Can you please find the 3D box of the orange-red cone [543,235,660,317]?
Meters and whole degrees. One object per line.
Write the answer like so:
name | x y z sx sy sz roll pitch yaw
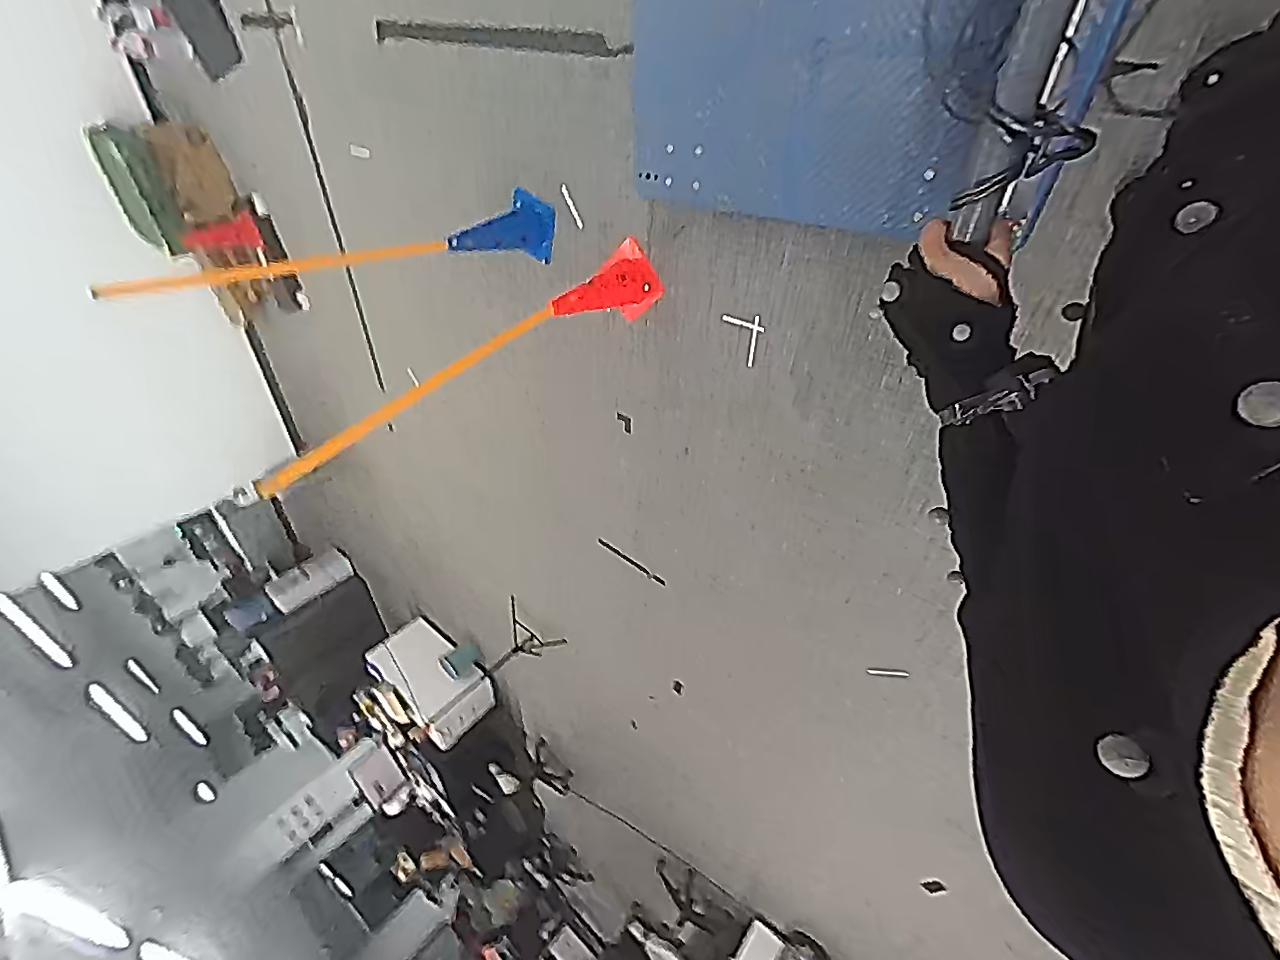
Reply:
orange-red cone | -0.144 -0.564 1.599 0.198 0.360 0.199 -23 99 50

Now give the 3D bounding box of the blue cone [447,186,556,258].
blue cone | -0.470 -0.815 1.763 0.192 0.380 0.193 39 139 16
